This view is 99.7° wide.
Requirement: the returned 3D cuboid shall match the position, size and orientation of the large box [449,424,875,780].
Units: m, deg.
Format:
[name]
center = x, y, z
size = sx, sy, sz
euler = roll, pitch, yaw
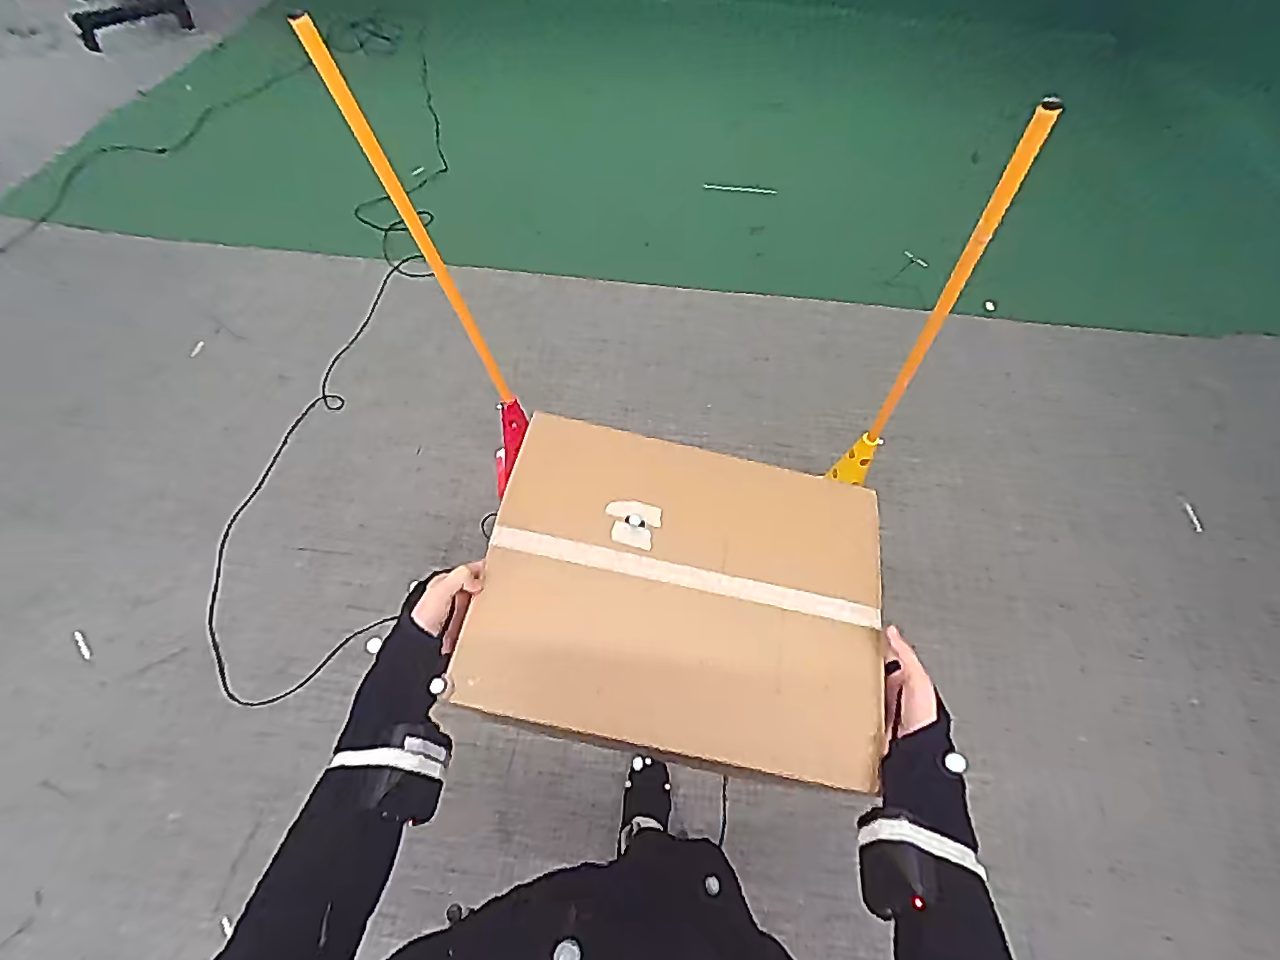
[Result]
[large box]
center = 0.031, 0.172, 0.691
size = 0.408, 0.320, 0.320
euler = 12, 61, -1
